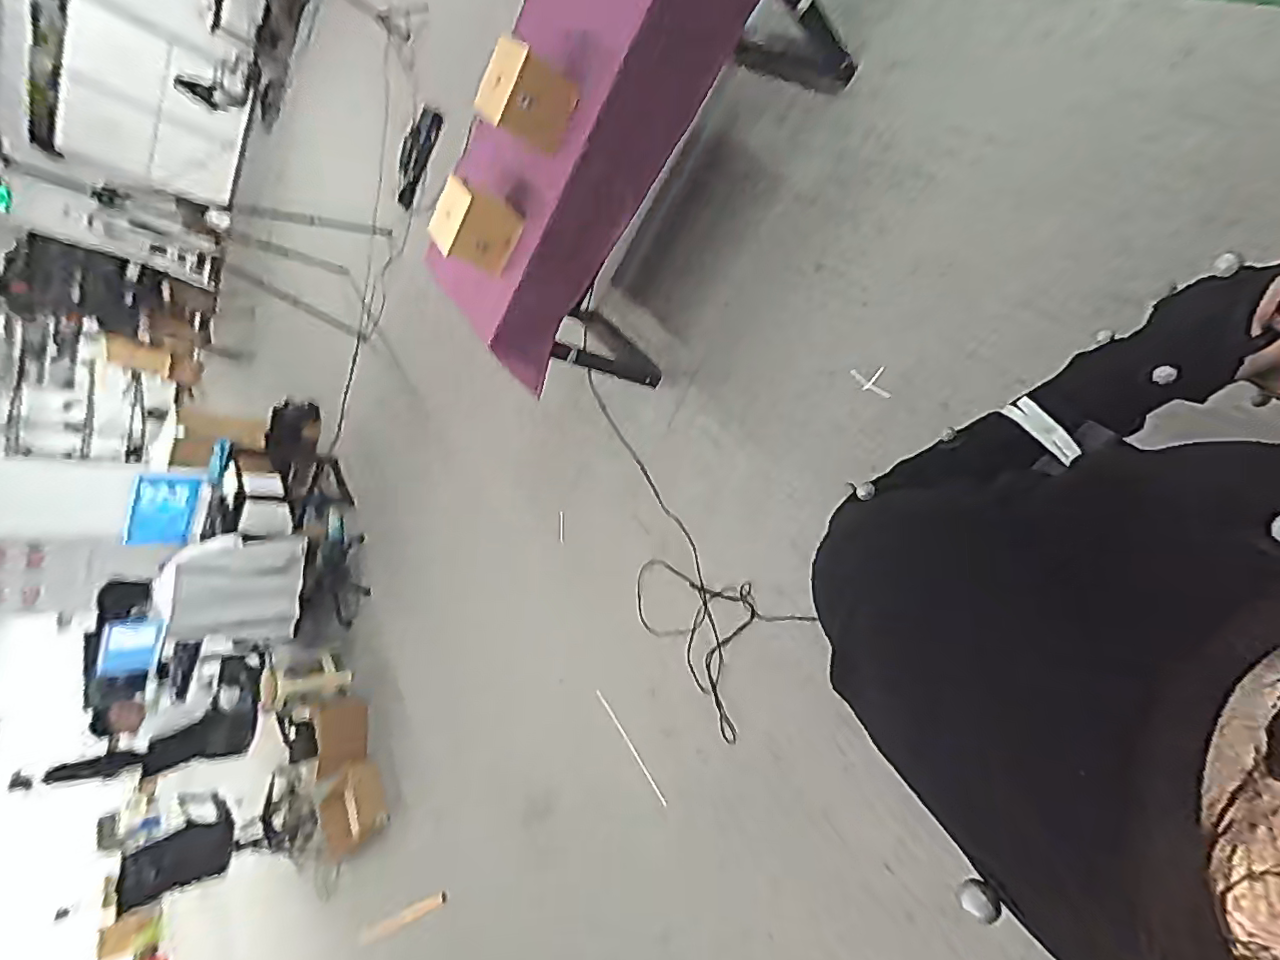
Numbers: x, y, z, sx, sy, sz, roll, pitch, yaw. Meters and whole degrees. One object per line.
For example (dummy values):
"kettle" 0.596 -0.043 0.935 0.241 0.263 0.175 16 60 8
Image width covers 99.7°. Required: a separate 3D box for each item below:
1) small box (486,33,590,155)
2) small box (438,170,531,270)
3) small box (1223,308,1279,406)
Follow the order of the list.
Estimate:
"small box" -0.257 -0.969 1.370 0.179 0.176 0.168 -53 54 24
"small box" -0.427 -0.710 1.497 0.168 0.176 0.179 -52 53 25
"small box" 0.582 -0.105 0.382 0.168 0.176 0.179 46 127 27
